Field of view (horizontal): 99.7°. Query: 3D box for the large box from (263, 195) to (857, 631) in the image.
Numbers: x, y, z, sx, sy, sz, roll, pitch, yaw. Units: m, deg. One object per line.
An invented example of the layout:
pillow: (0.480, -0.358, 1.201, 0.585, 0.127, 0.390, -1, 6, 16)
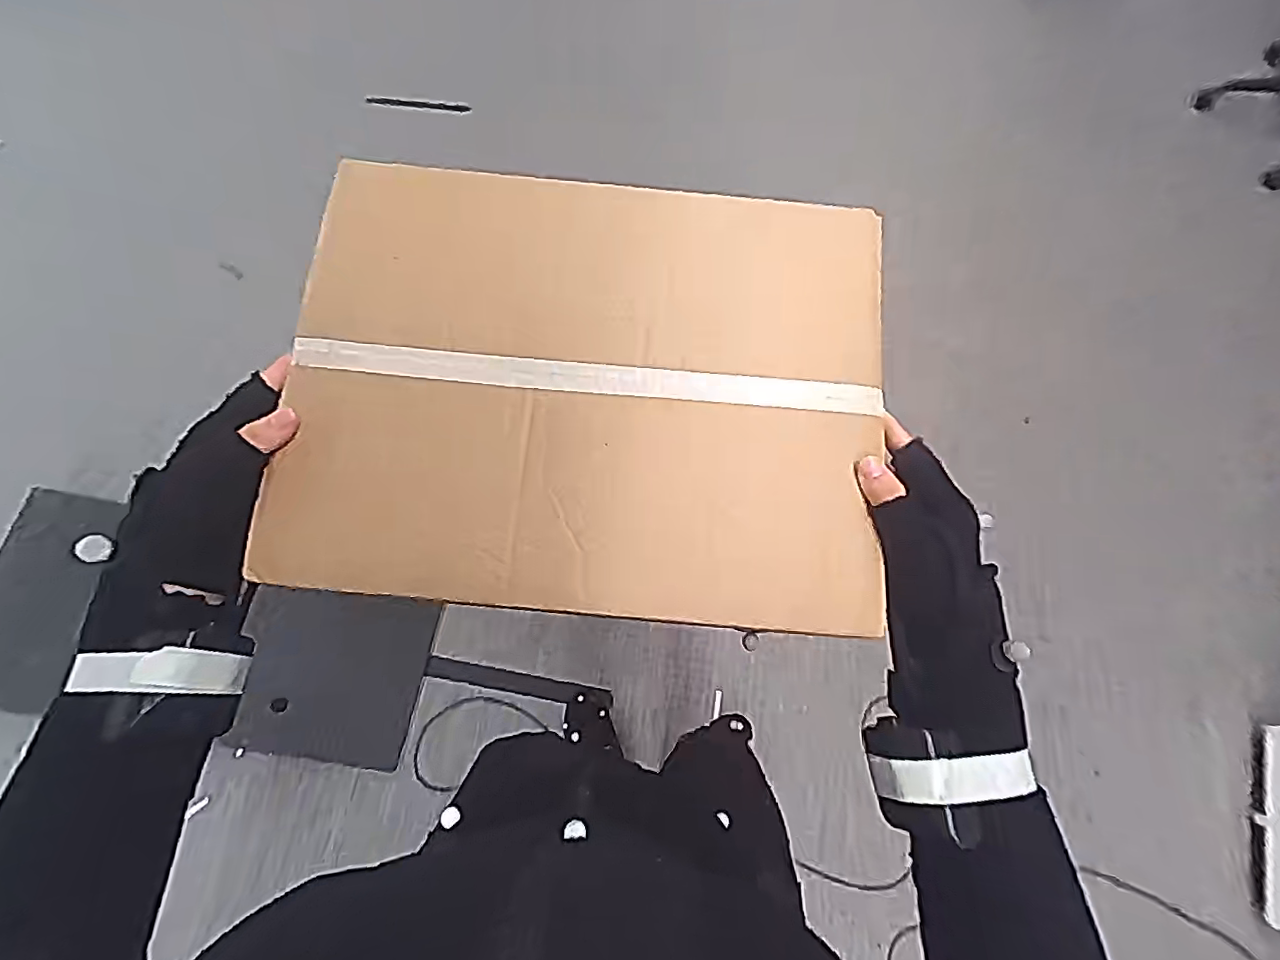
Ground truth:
large box: (-0.046, -0.031, 0.534, 0.408, 0.320, 0.320, 4, 77, 0)

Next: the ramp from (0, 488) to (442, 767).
ramp: (-1.014, 0.348, 1.305, 0.991, 0.206, 0.509, 8, 71, 3)
